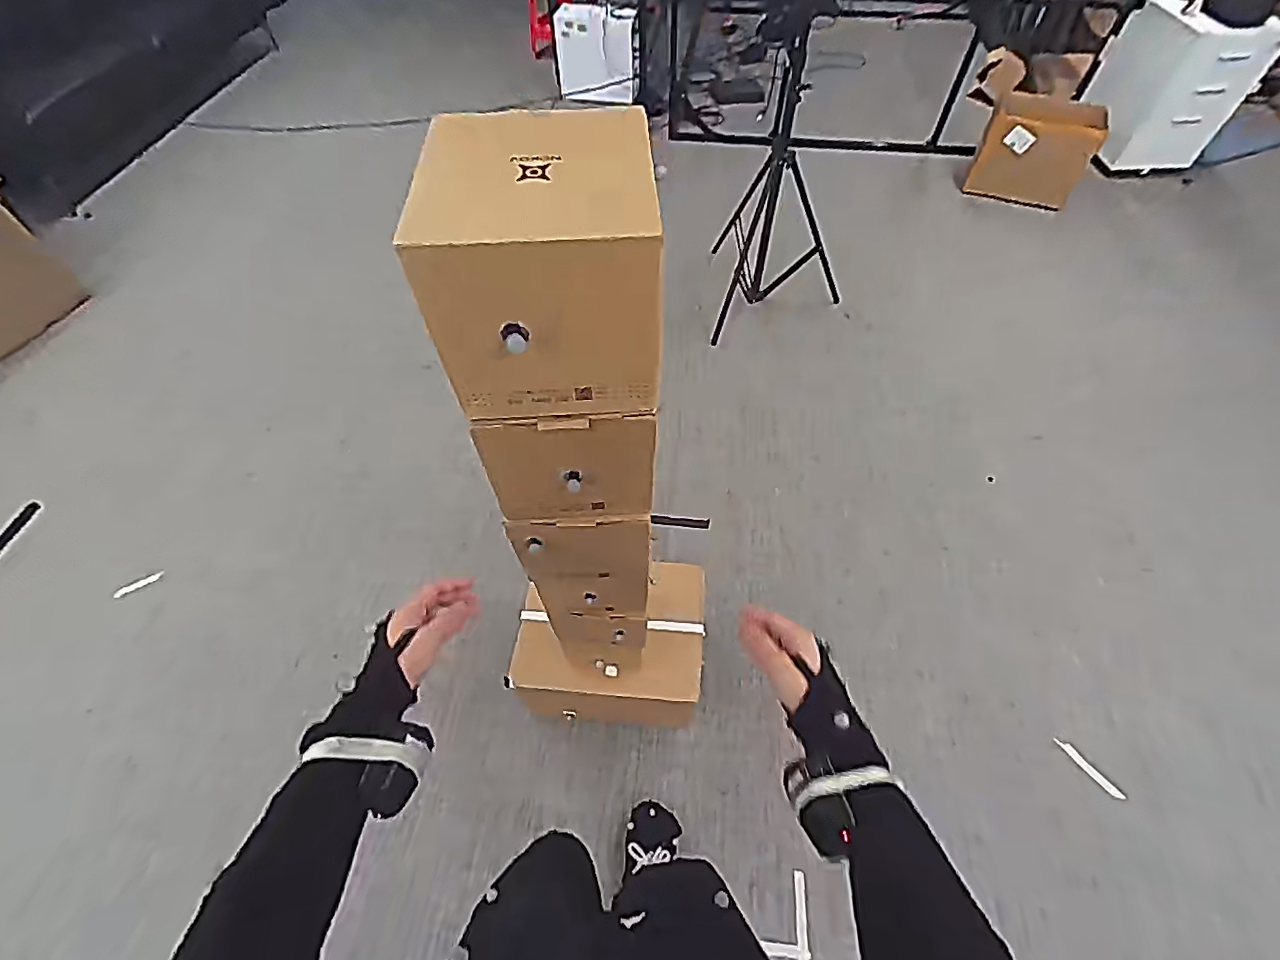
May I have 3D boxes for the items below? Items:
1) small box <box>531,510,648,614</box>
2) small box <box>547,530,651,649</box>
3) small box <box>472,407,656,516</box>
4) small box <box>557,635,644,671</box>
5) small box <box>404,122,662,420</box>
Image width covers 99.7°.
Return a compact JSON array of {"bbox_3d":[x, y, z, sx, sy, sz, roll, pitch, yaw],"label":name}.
[{"bbox_3d":[-0.071,0.107,0.857,0.168,0.176,0.179,0,57,-1],"label":"small box"},{"bbox_3d":[-0.067,0.200,0.992,0.168,0.176,0.179,3,56,1],"label":"small box"},{"bbox_3d":[-0.070,-0.070,0.581,0.168,0.176,0.179,-3,58,-3],"label":"small box"},{"bbox_3d":[-0.070,0.285,1.131,0.168,0.176,0.179,4,57,3],"label":"small box"},{"bbox_3d":[-0.070,-0.161,0.446,0.168,0.176,0.179,-3,56,-2],"label":"small box"}]
